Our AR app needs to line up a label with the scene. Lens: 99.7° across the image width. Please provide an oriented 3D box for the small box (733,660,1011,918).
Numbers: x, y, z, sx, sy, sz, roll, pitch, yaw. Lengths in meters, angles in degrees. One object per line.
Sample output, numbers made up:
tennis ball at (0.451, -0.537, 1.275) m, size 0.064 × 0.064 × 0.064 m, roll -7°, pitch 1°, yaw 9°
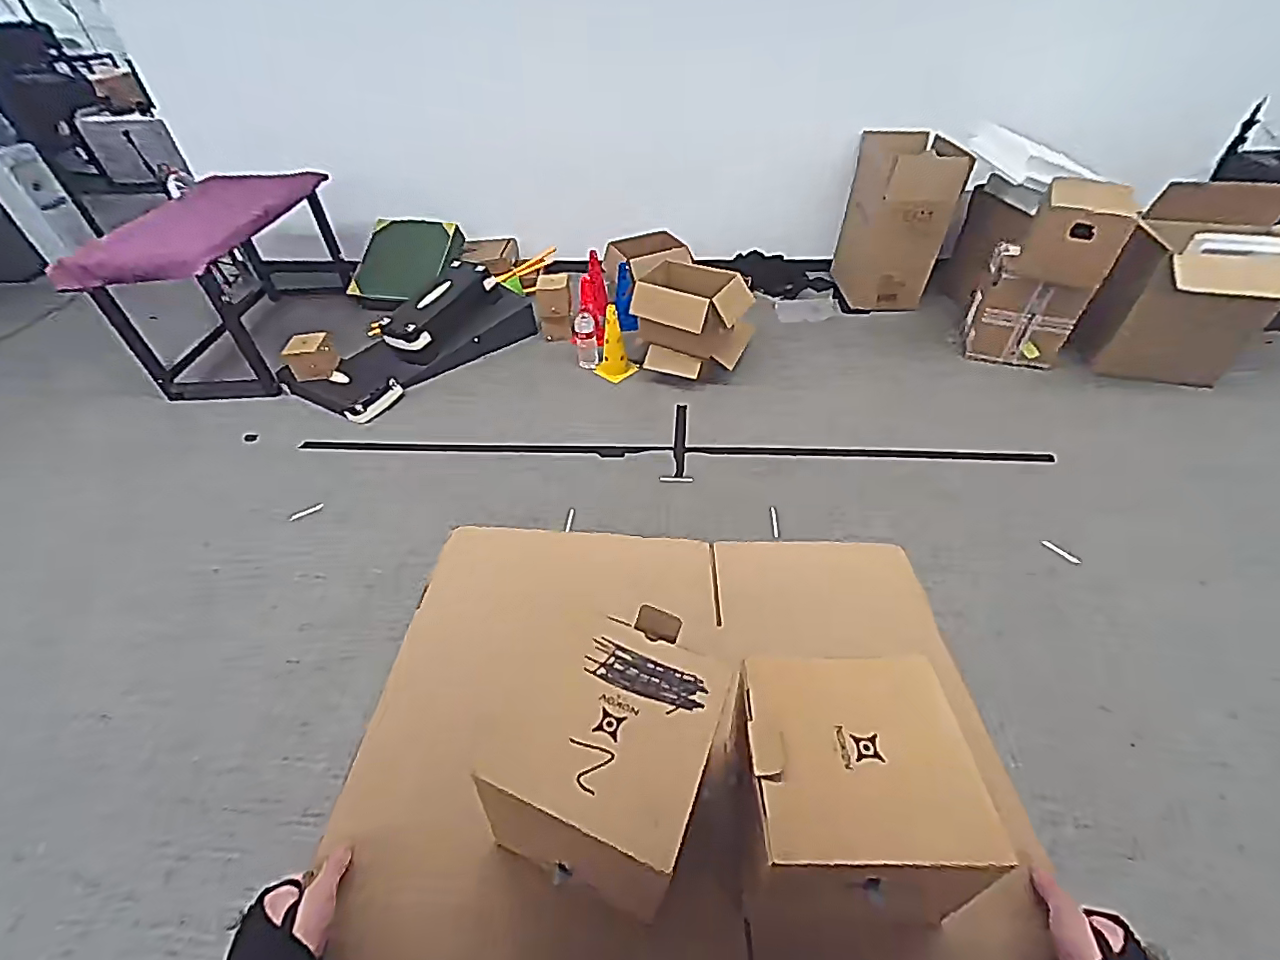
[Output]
small box at (0.190, 0.288, 0.507) m, size 0.179 × 0.176 × 0.168 m, roll -1°, pitch 40°, yaw 2°
